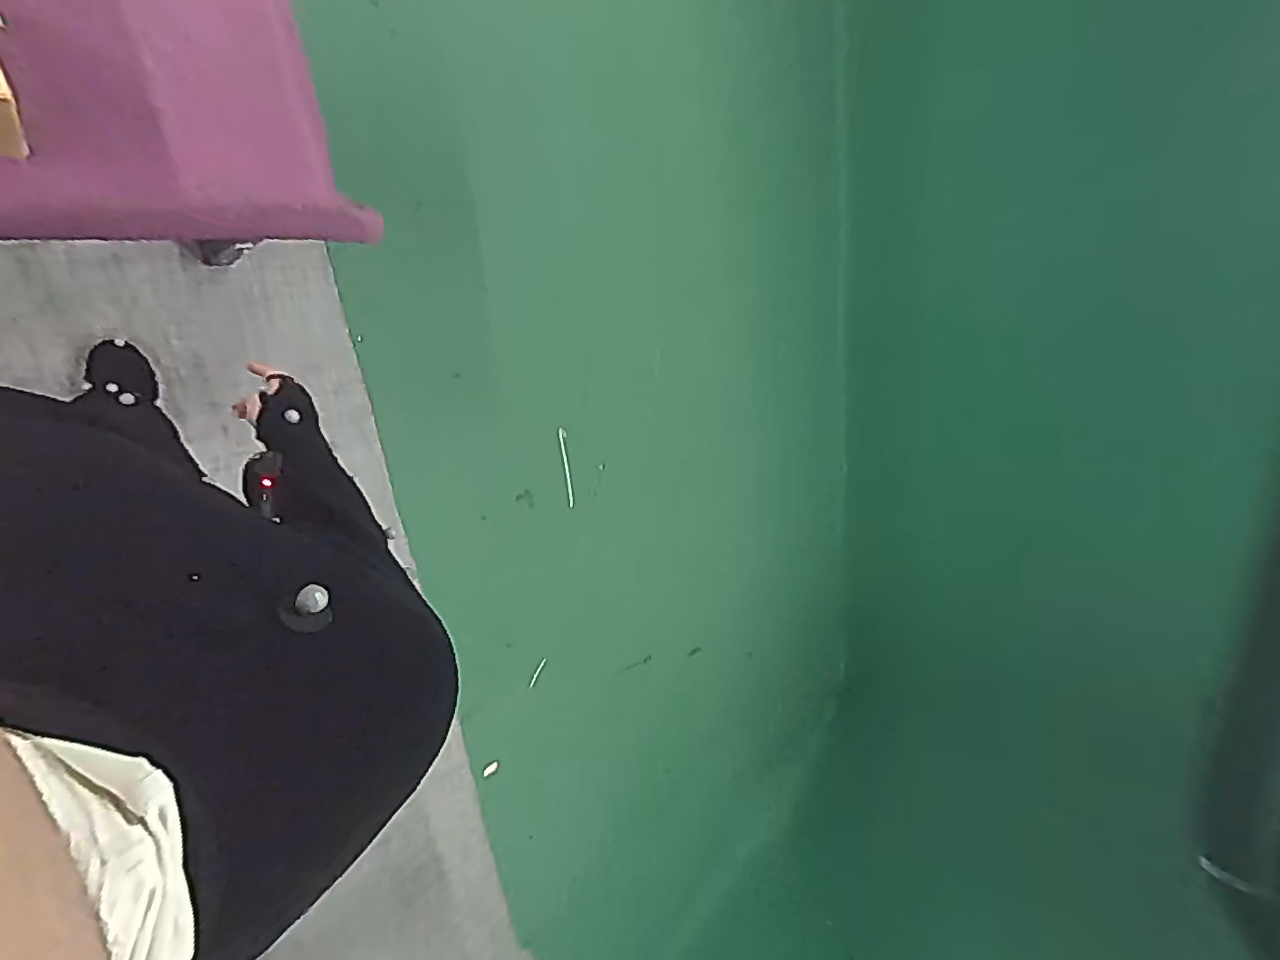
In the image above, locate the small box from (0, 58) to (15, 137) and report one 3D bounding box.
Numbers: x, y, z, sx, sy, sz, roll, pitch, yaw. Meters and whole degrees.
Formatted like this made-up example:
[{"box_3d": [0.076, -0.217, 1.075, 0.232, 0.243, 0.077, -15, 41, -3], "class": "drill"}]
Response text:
[{"box_3d": [-0.686, -0.417, 0.455, 0.168, 0.176, 0.179, -26, 116, -41], "class": "small box"}]
